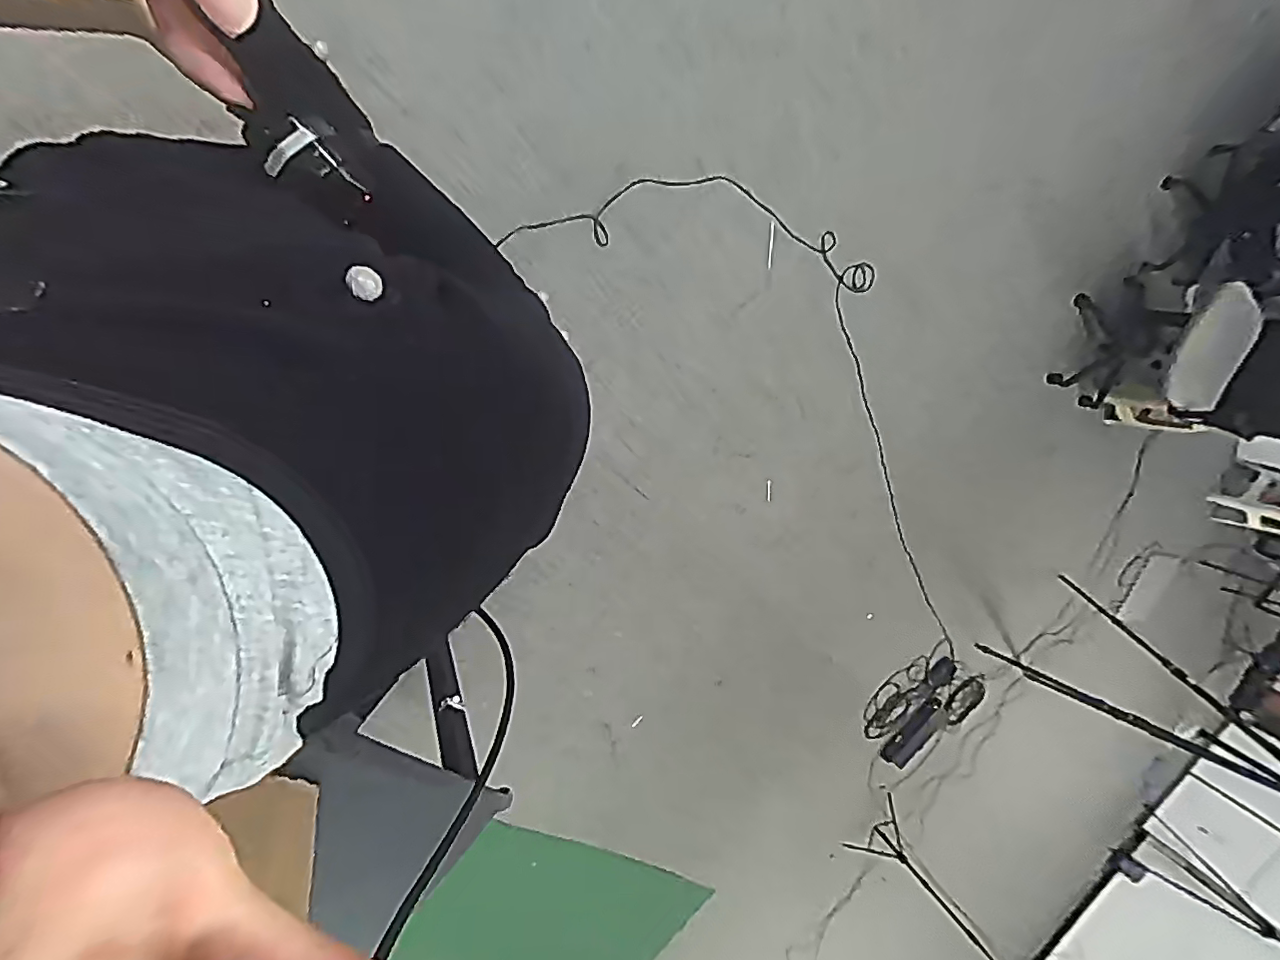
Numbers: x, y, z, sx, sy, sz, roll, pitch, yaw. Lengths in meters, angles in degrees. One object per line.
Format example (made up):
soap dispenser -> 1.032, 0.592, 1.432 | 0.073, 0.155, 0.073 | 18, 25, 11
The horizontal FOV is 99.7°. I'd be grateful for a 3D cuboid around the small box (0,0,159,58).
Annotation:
small box -> -0.342, -0.298, 0.225 | 0.168, 0.176, 0.179 | -20, 129, -28
